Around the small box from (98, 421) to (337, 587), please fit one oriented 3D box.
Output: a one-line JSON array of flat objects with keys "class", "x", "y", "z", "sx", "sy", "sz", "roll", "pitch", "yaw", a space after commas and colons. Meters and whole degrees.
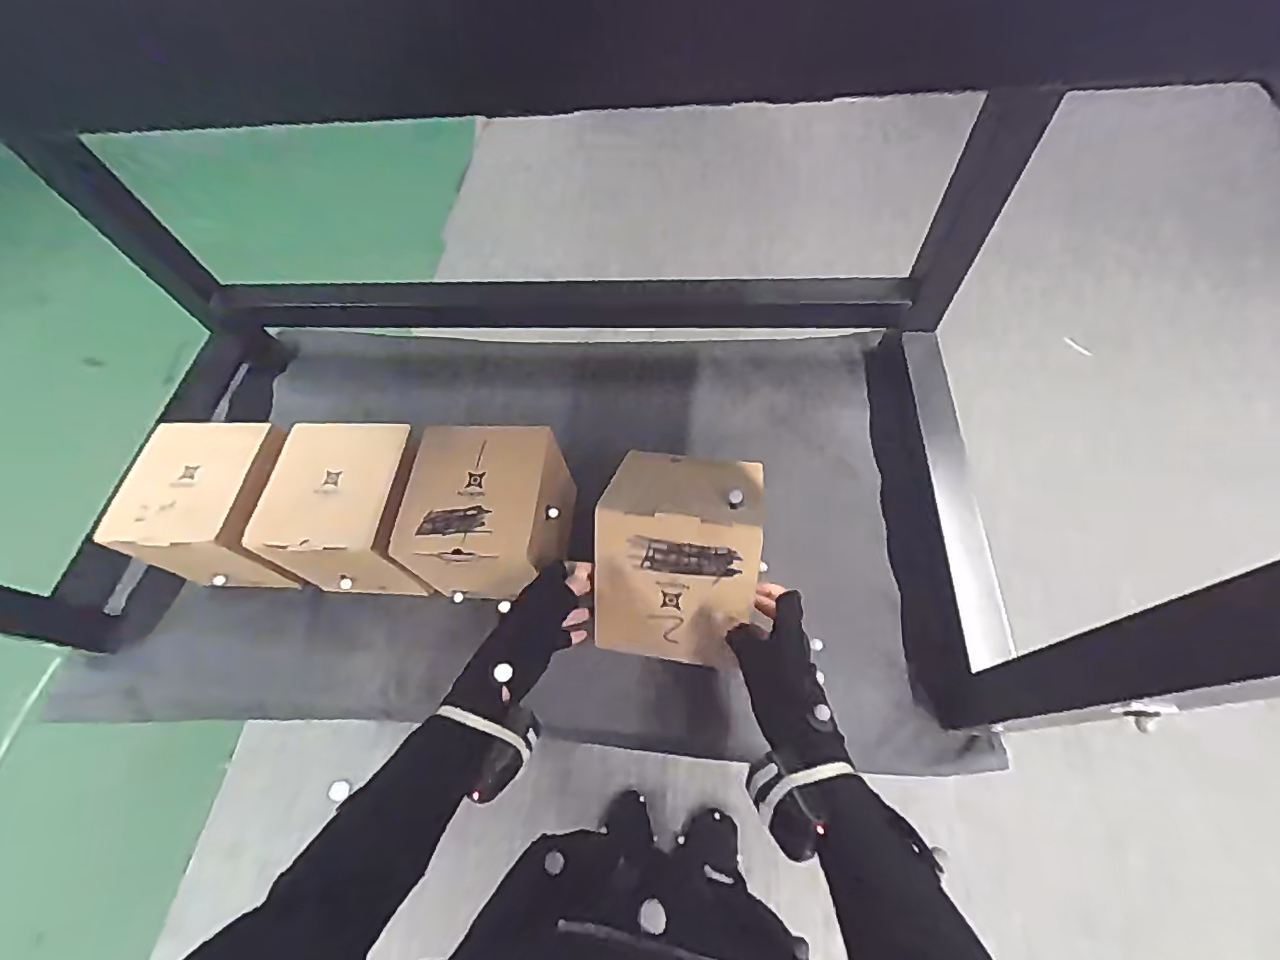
[{"class": "small box", "x": -0.561, "y": 0.036, "z": 0.752, "sx": 0.168, "sy": 0.176, "sz": 0.179, "roll": 0, "pitch": 61, "yaw": 7}]
